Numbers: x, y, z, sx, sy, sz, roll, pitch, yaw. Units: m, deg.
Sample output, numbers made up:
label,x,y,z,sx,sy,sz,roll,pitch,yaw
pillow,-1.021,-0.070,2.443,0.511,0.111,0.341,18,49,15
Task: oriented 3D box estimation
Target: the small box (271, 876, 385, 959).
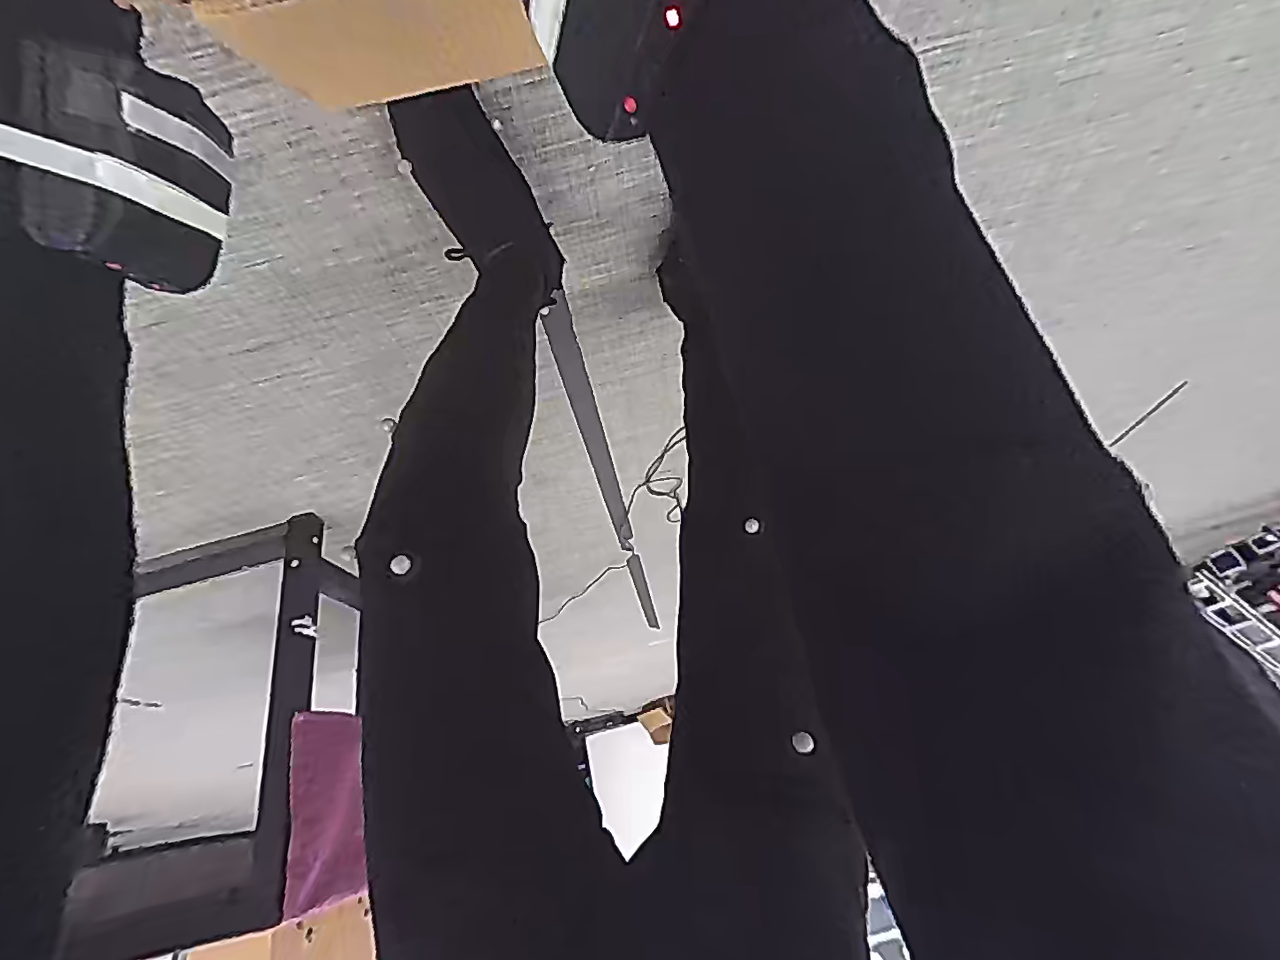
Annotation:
label,x,y,z,sx,sy,sz,roll,pitch,yaw
small box,-0.709,1.036,1.241,0.179,0.176,0.168,-18,151,4
